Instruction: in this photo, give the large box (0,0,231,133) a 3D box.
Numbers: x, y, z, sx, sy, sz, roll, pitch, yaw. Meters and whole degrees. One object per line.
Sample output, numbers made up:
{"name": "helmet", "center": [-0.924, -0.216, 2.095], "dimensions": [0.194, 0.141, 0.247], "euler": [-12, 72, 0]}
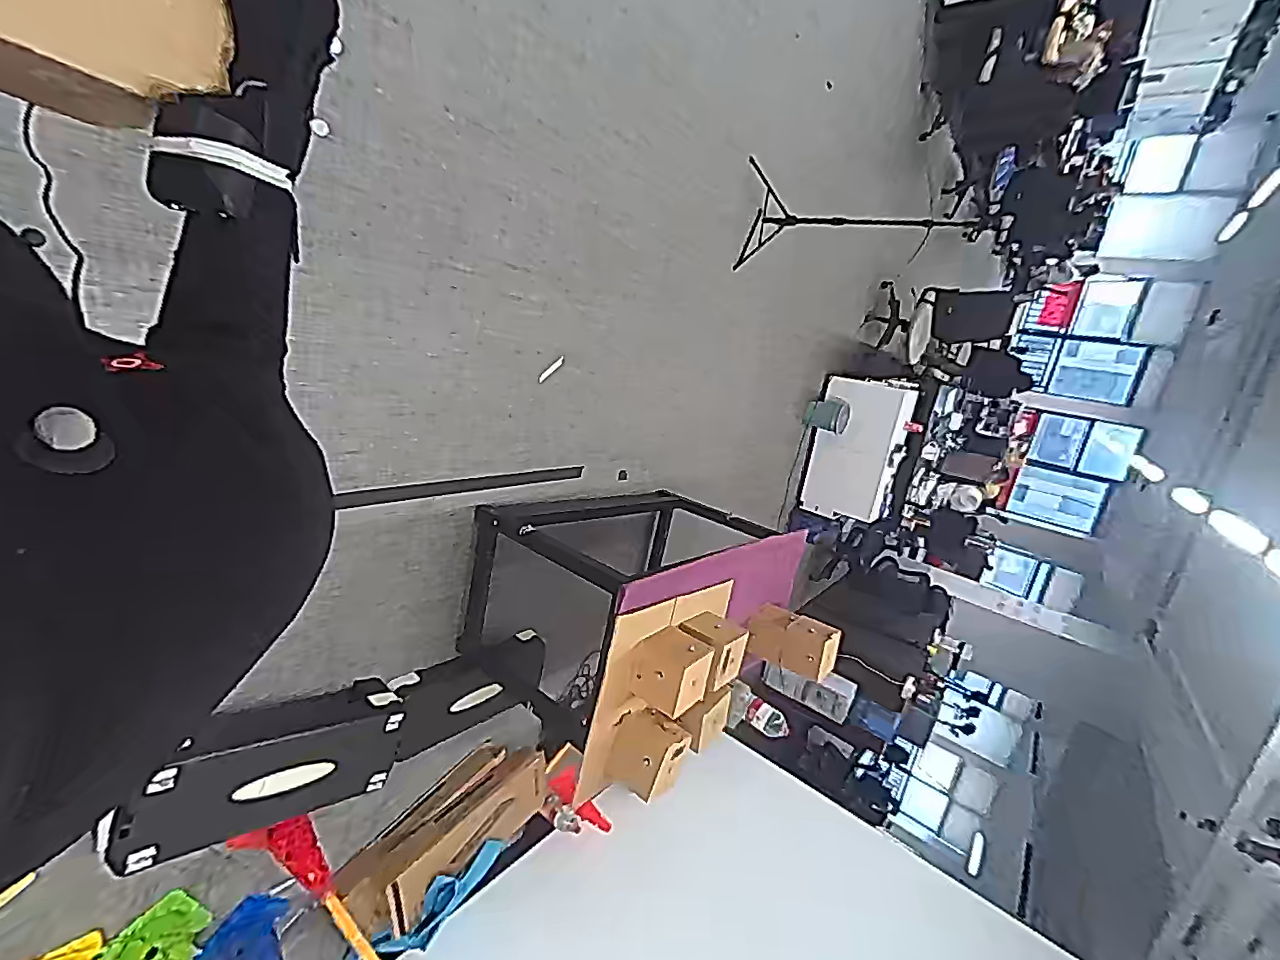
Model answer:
{"name": "large box", "center": [-0.499, -0.435, 0.277], "dimensions": [0.408, 0.320, 0.320], "euler": [-4, 114, -56]}
